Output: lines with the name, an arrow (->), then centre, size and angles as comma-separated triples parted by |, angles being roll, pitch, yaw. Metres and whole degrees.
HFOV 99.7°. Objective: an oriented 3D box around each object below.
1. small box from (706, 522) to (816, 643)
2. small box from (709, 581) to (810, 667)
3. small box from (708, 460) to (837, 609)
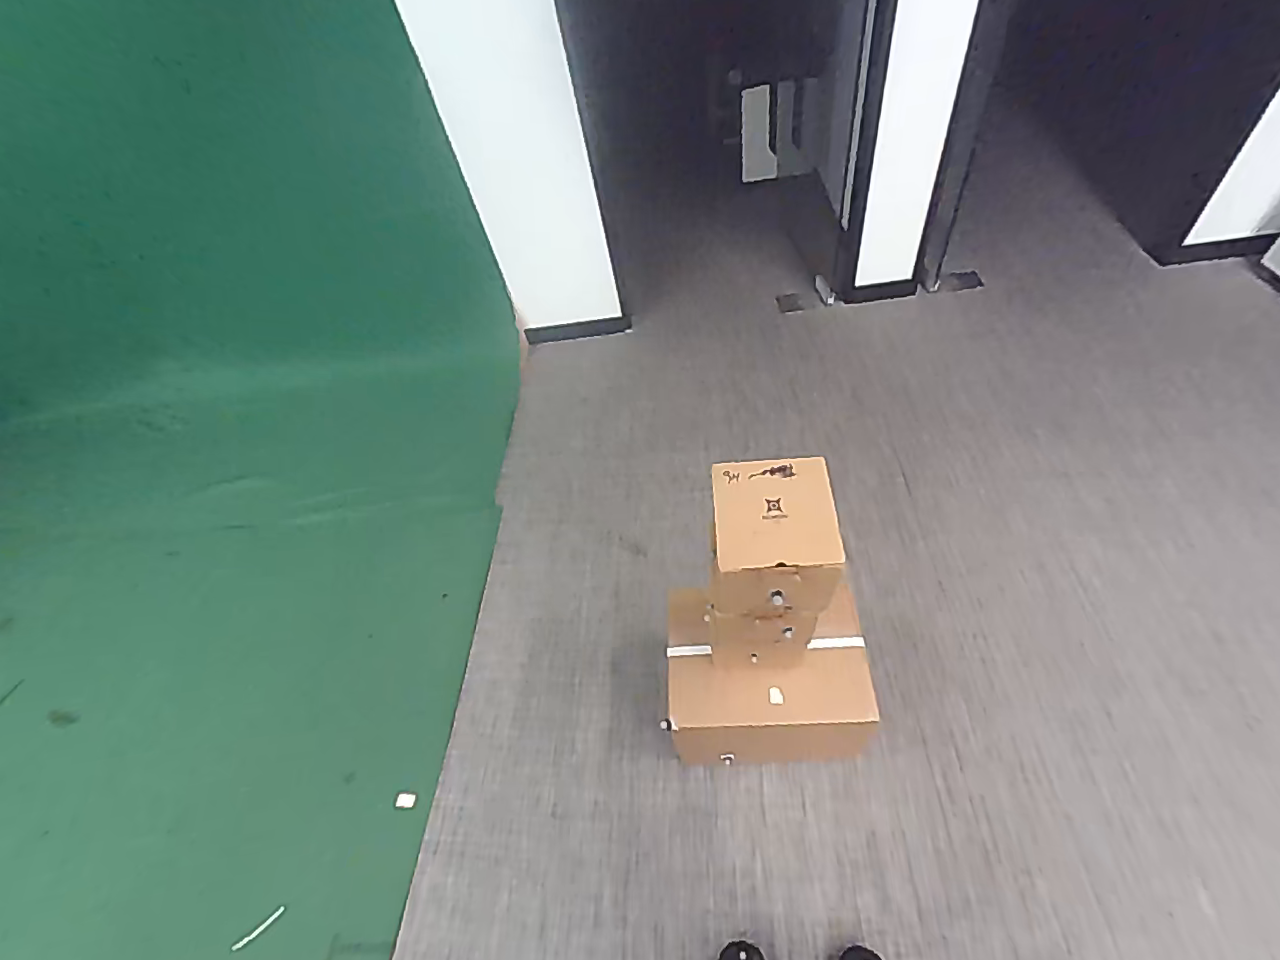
small box -> 0.209, 0.184, 0.961 | 0.168, 0.176, 0.179 | -5, 55, 7
small box -> 0.233, 0.273, 1.093 | 0.179, 0.176, 0.168 | -5, 57, 7
small box -> 0.194, 0.092, 0.826 | 0.168, 0.176, 0.179 | -4, 57, 8
